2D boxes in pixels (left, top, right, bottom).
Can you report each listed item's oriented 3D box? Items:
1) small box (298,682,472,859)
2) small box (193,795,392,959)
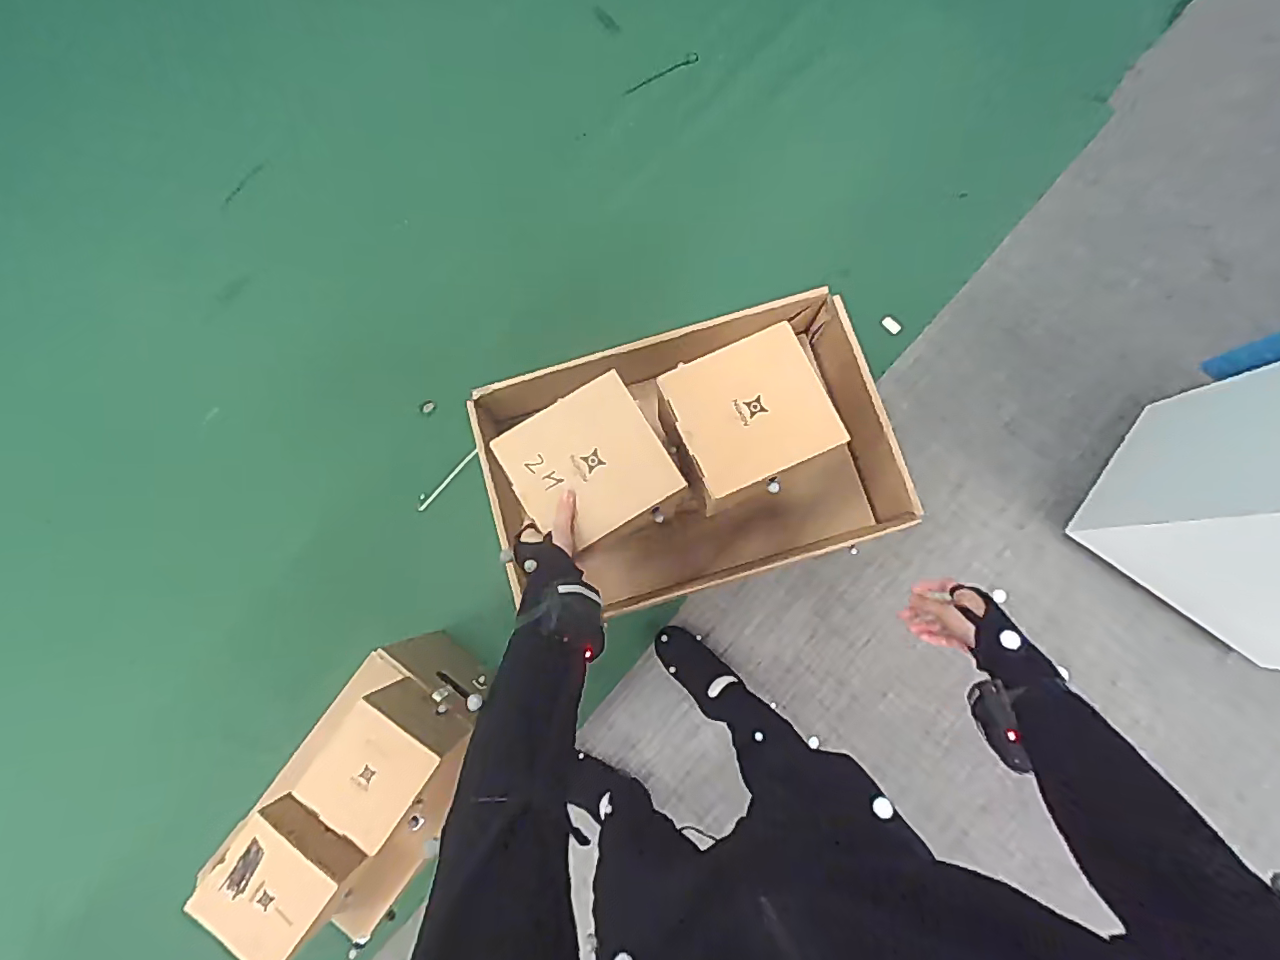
[{"bbox_3d":[-0.415,0.473,0.915,0.168,0.176,0.179,34,83,6],"label":"small box"},{"bbox_3d":[-0.556,0.639,0.890,0.179,0.176,0.168,35,83,8],"label":"small box"}]
